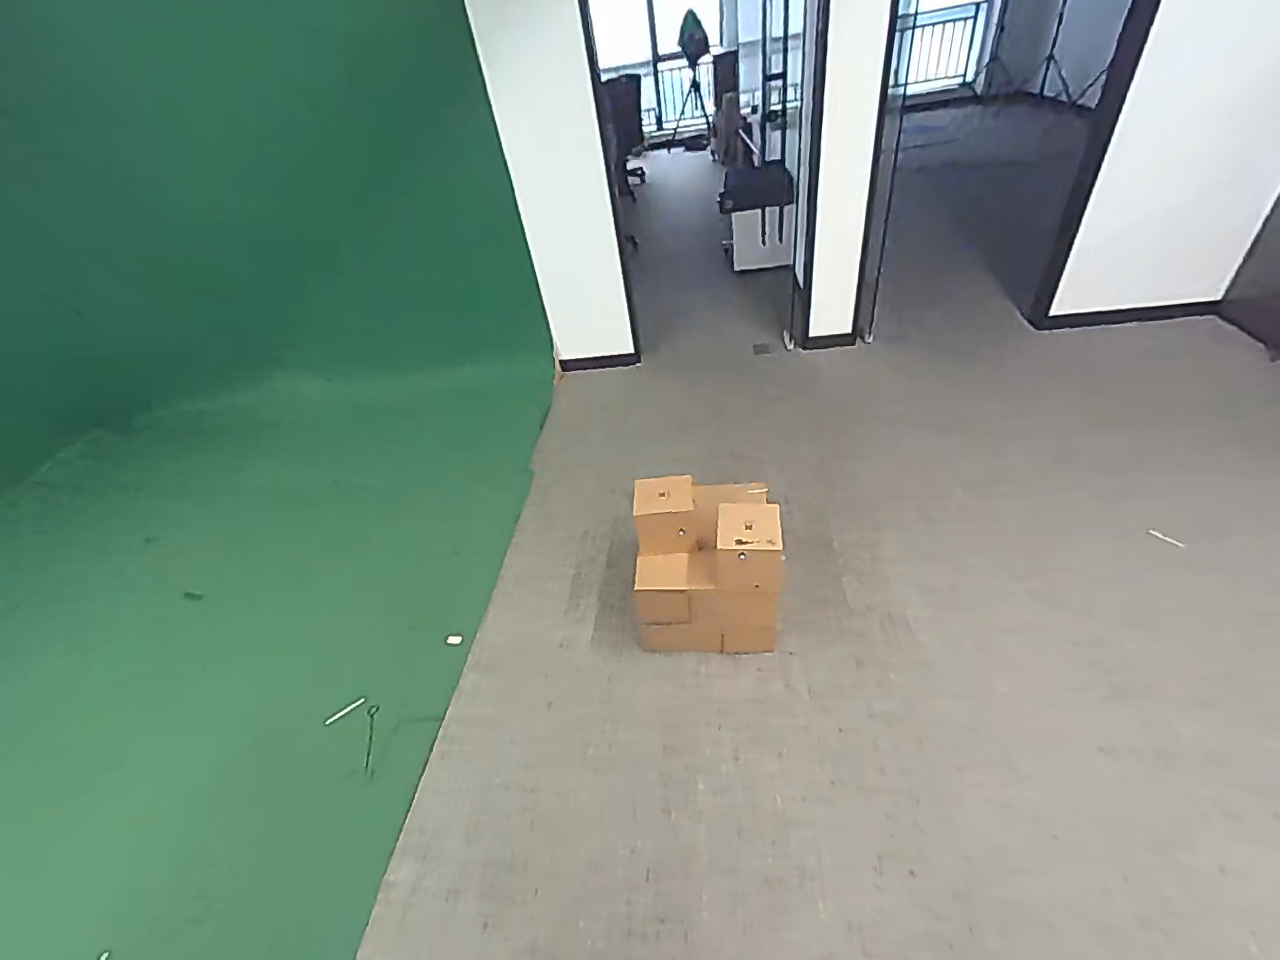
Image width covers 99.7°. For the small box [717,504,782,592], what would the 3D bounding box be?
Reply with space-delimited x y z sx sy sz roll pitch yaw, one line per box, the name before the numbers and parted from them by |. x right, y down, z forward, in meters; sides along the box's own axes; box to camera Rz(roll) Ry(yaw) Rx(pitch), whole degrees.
small box | 0.298 0.184 1.483 0.168 0.176 0.179 0 39 11

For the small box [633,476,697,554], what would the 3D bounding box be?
small box | 0.081 0.108 1.631 0.179 0.176 0.168 -5 37 8
